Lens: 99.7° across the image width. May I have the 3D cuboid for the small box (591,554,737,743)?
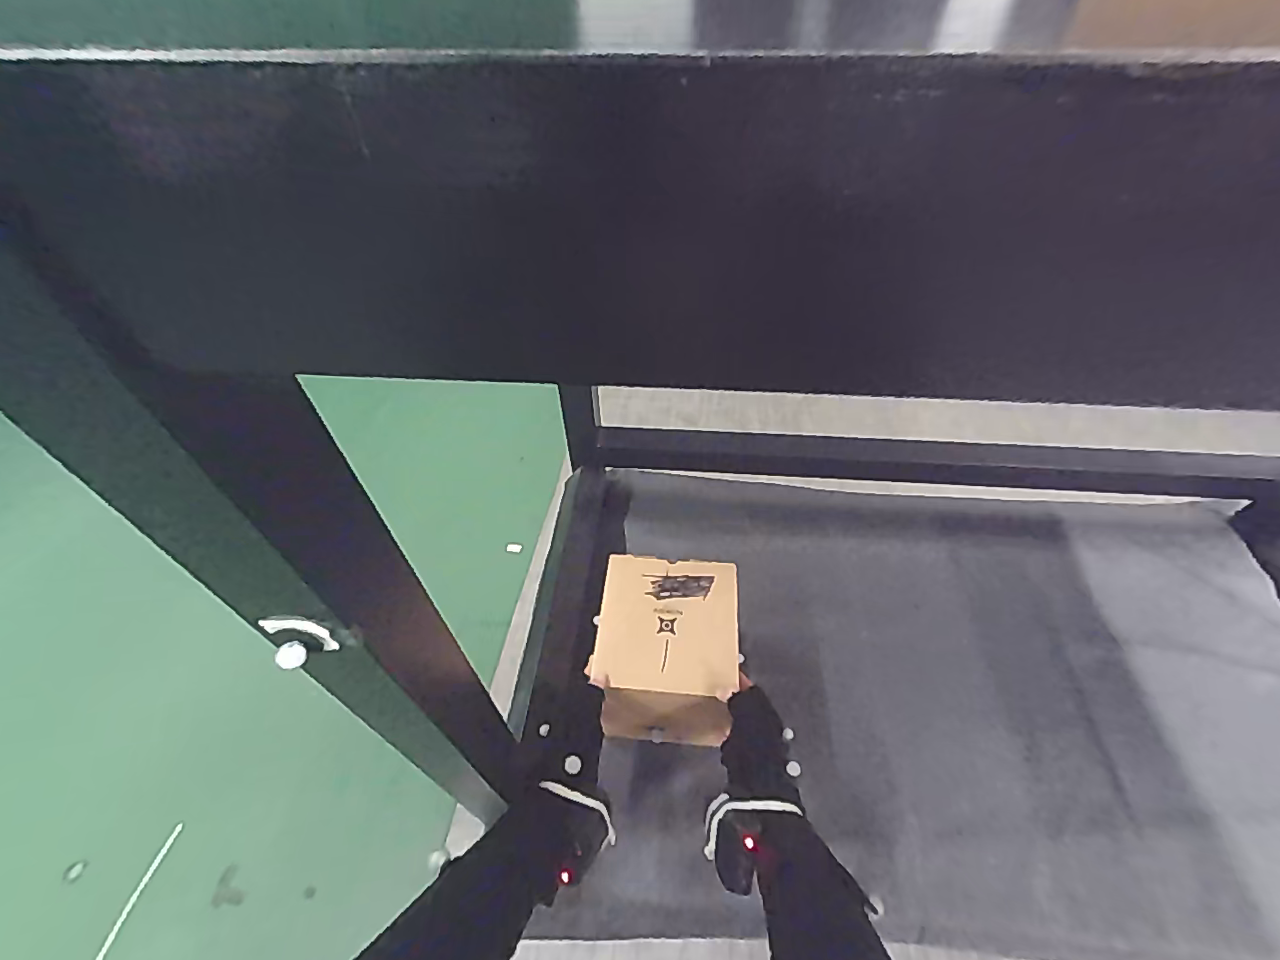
[{"bbox_3d":[0.034,0.221,0.710,0.168,0.176,0.179,3,48,5],"label":"small box"}]
